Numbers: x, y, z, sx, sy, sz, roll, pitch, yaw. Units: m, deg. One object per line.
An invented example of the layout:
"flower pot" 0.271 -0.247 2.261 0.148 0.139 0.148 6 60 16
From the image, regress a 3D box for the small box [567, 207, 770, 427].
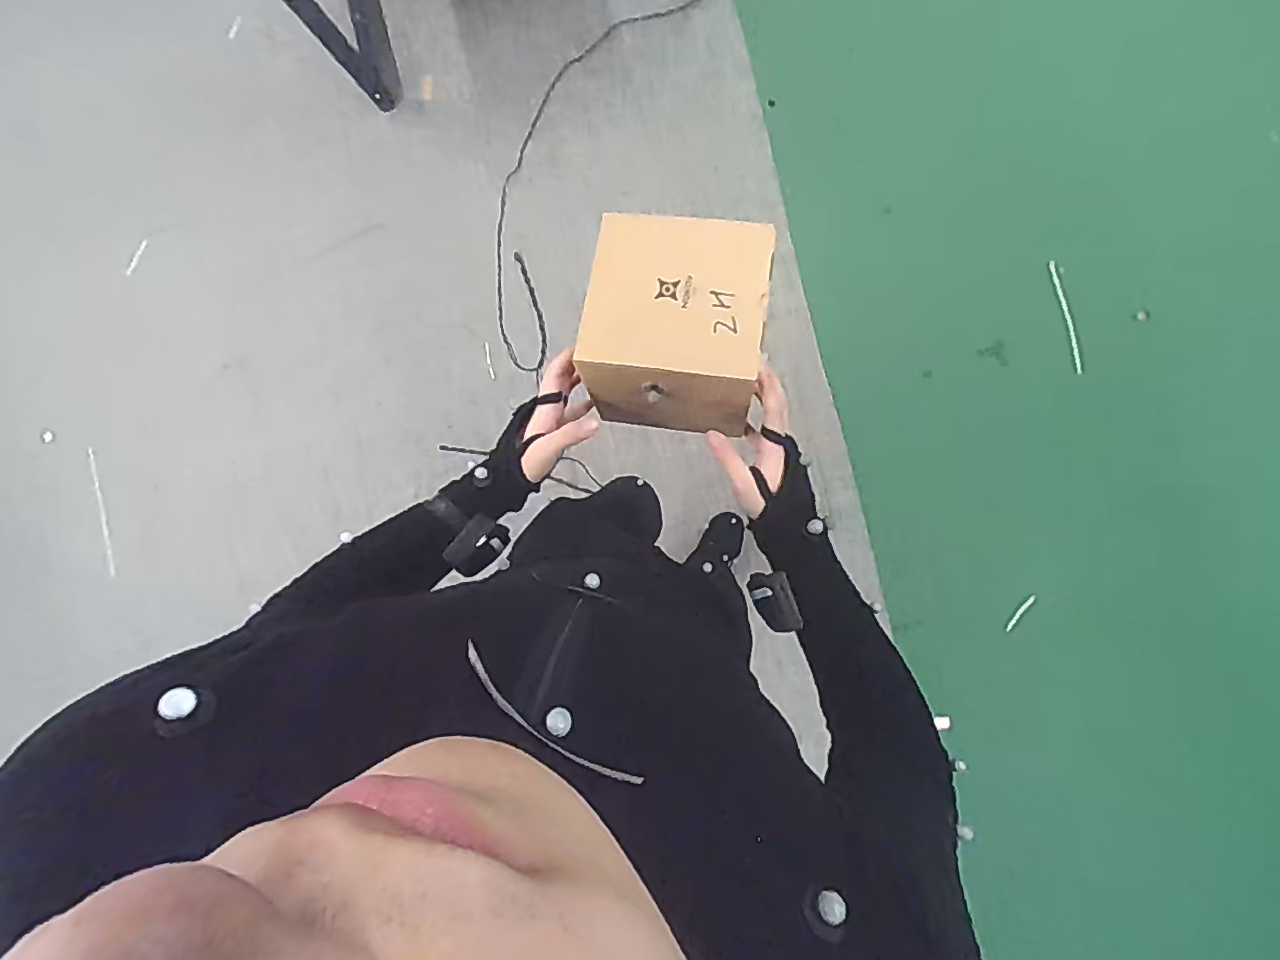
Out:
"small box" 0.036 -0.168 0.594 0.179 0.176 0.168 8 77 8
